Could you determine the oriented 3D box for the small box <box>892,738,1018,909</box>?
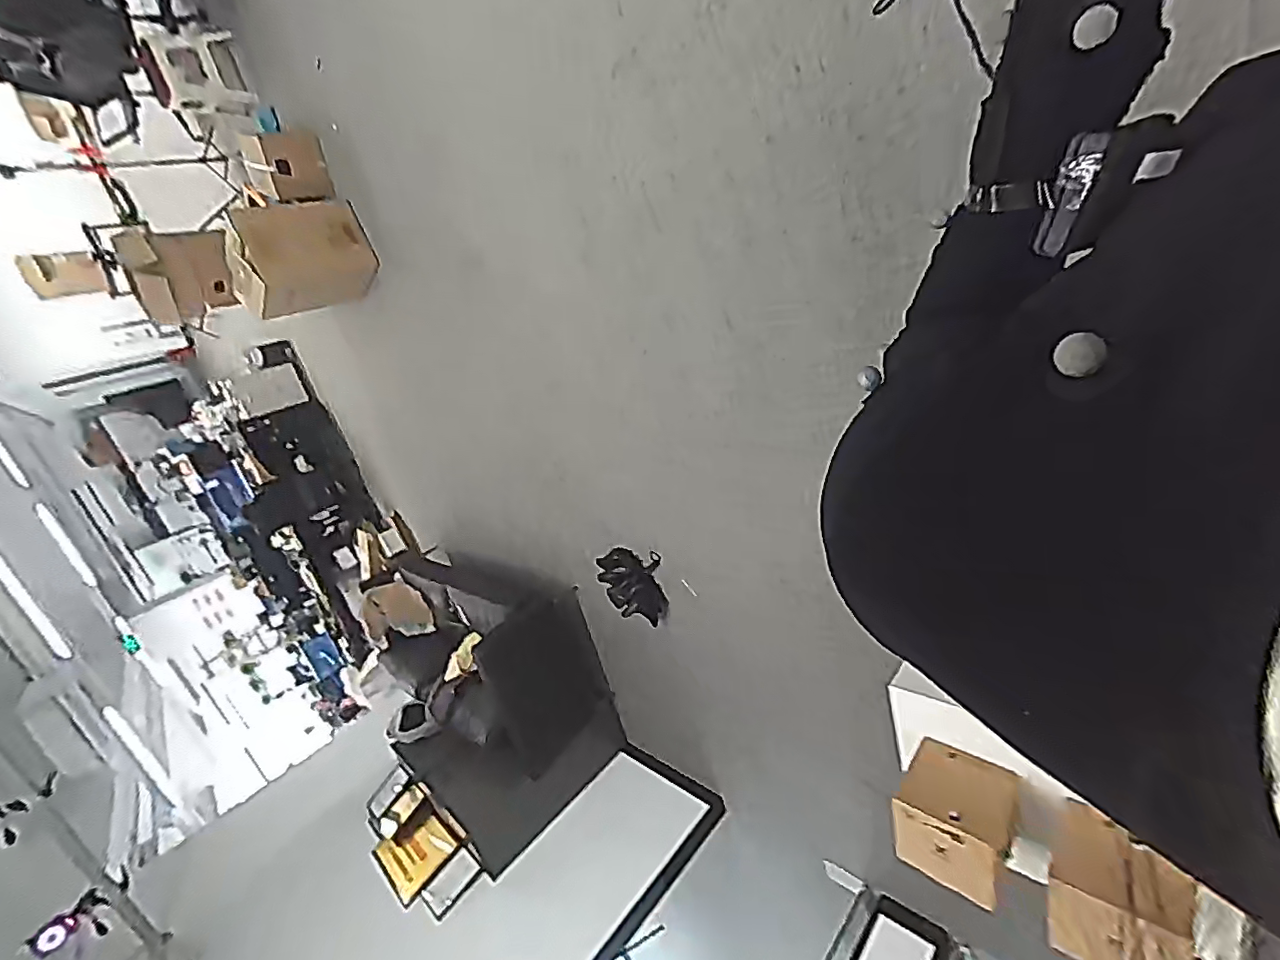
[{"bbox_3d":[0.602,0.642,1.030,0.168,0.176,0.179,9,121,46],"label":"small box"}]

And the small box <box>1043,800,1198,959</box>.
[{"bbox_3d":[0.766,0.666,0.860,0.168,0.176,0.179,2,114,48],"label":"small box"}]
